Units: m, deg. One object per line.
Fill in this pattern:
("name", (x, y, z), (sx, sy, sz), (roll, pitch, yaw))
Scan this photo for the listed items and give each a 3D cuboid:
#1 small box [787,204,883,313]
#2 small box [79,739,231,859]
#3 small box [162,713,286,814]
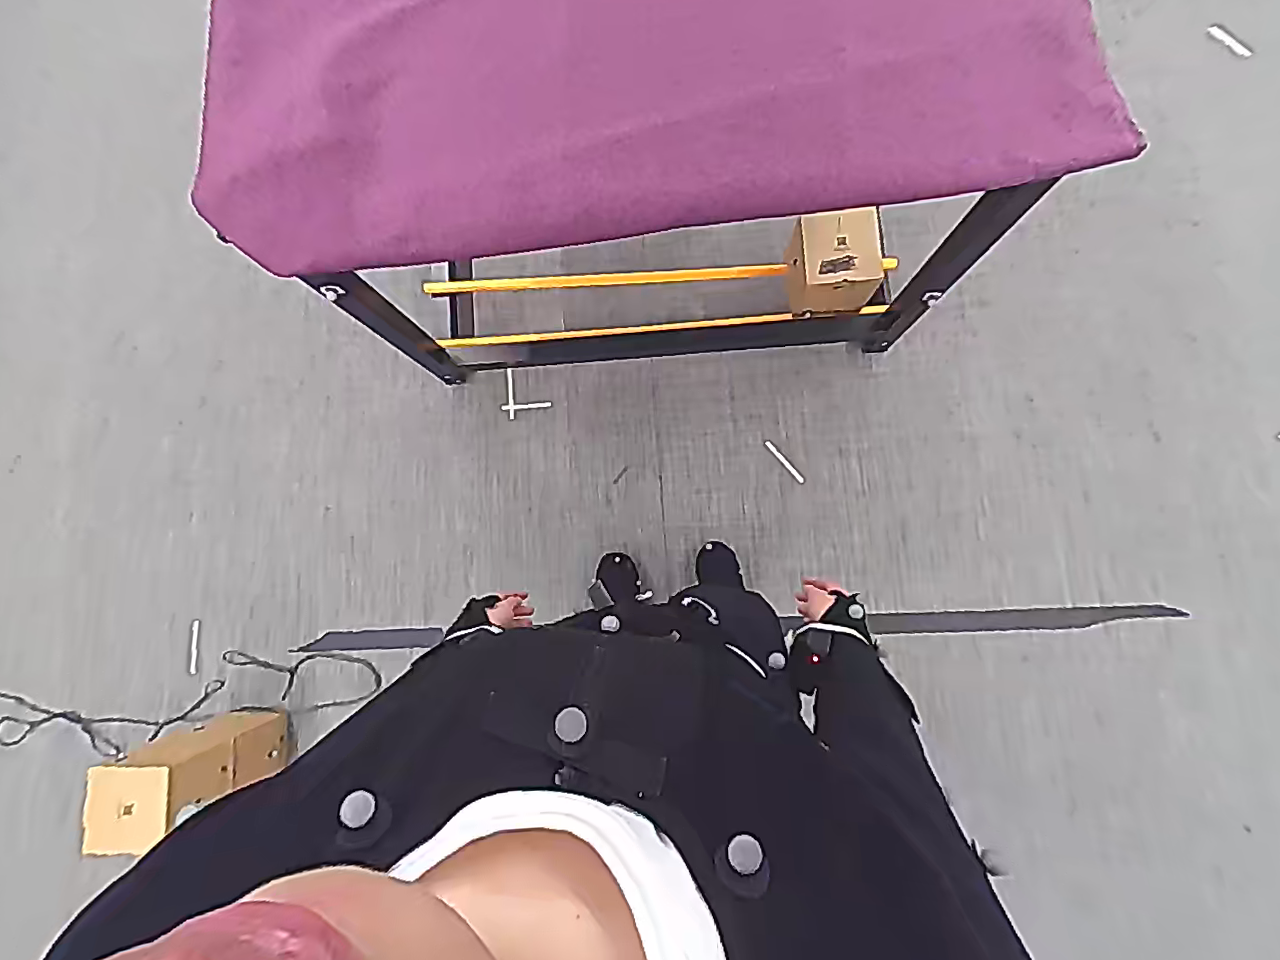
("small box", (0.440, -0.497, 1.241), (0.168, 0.176, 0.179), (-3, 82, 4))
("small box", (-1.004, 0.657, 1.133), (0.179, 0.176, 0.168), (-2, 84, 4))
("small box", (-0.993, 0.671, 1.295), (0.179, 0.176, 0.168), (-2, 85, 3))
